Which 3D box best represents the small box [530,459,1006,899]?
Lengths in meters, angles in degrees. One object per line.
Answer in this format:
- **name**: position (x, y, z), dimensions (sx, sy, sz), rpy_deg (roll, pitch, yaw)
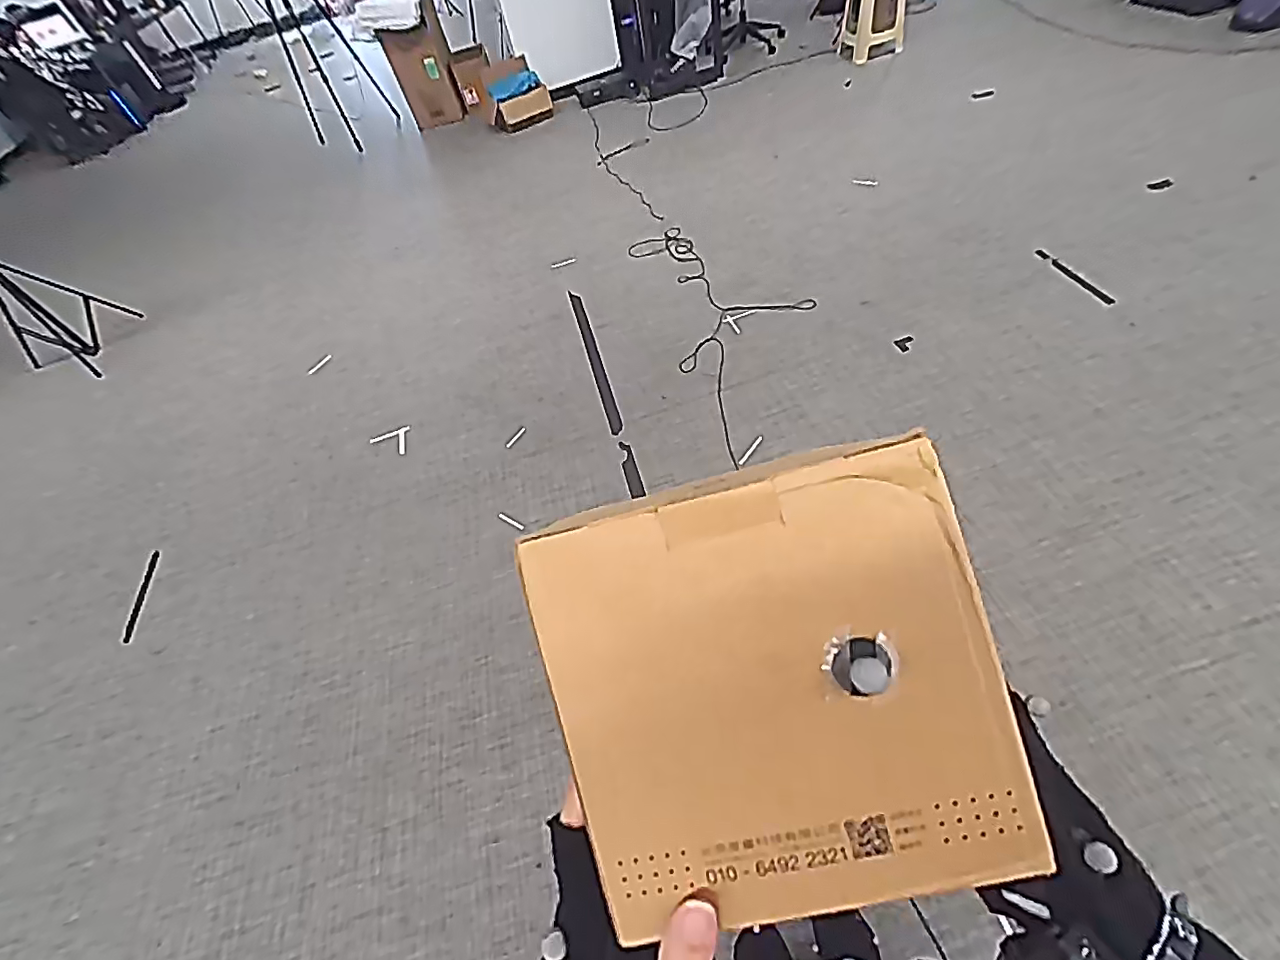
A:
- **small box**: position (0.062, 0.093, 0.303), dimensions (0.168, 0.179, 0.176), rpy_deg (-16, 89, 8)
